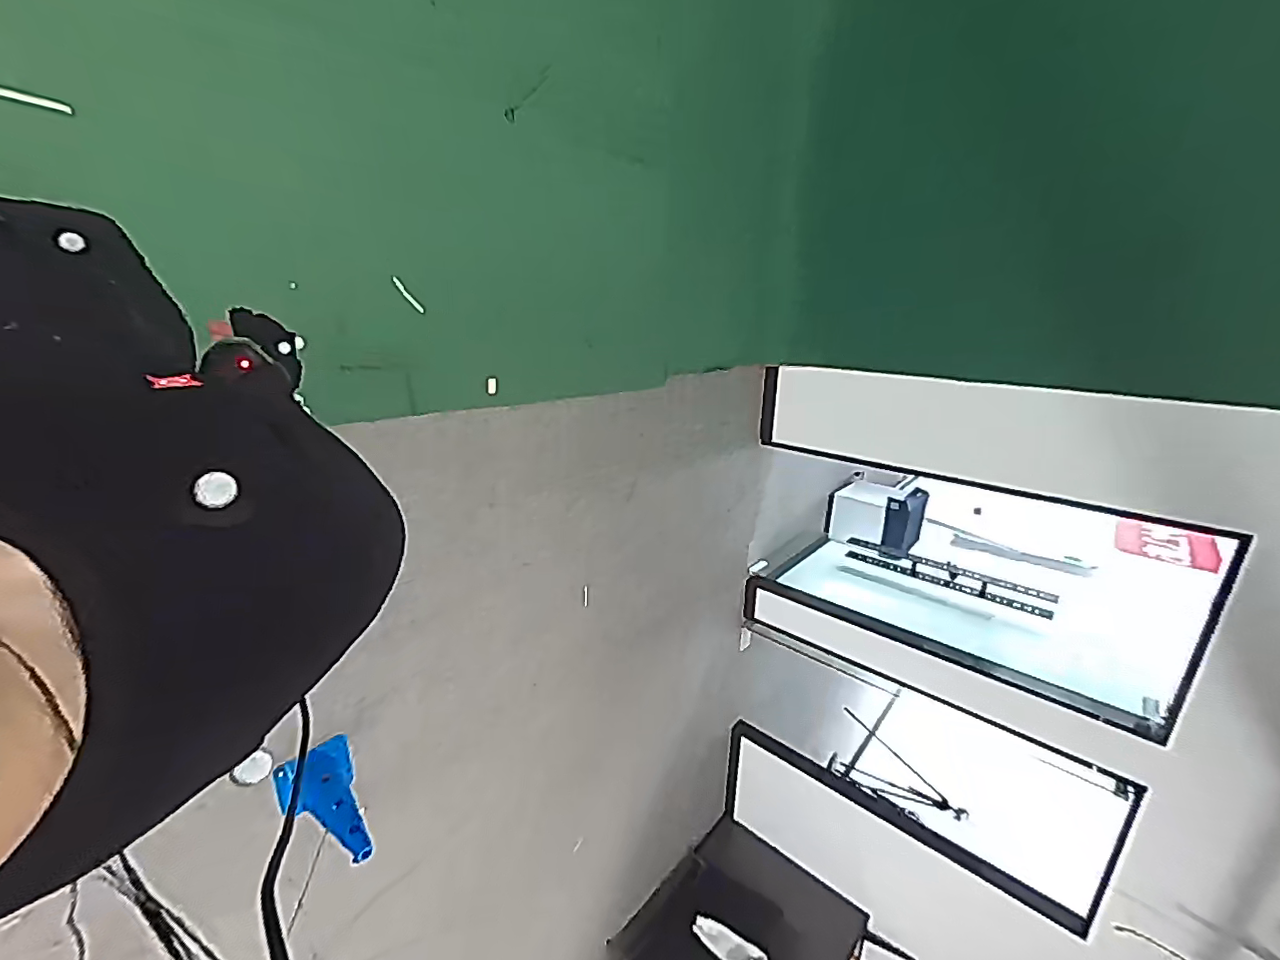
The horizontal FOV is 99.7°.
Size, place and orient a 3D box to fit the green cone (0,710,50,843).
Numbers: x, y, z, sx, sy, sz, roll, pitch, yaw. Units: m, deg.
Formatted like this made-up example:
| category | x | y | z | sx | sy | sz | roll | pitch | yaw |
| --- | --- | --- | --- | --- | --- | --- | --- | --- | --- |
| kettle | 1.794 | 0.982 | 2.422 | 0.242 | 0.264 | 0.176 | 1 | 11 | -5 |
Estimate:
| category | x | y | z | sx | sy | sz | roll | pitch | yaw |
| --- | --- | --- | --- | --- | --- | --- | --- | --- | --- |
| green cone | -1.205 | 0.617 | 0.965 | 0.200 | 0.368 | 0.202 | -14 | 115 | -47 |
